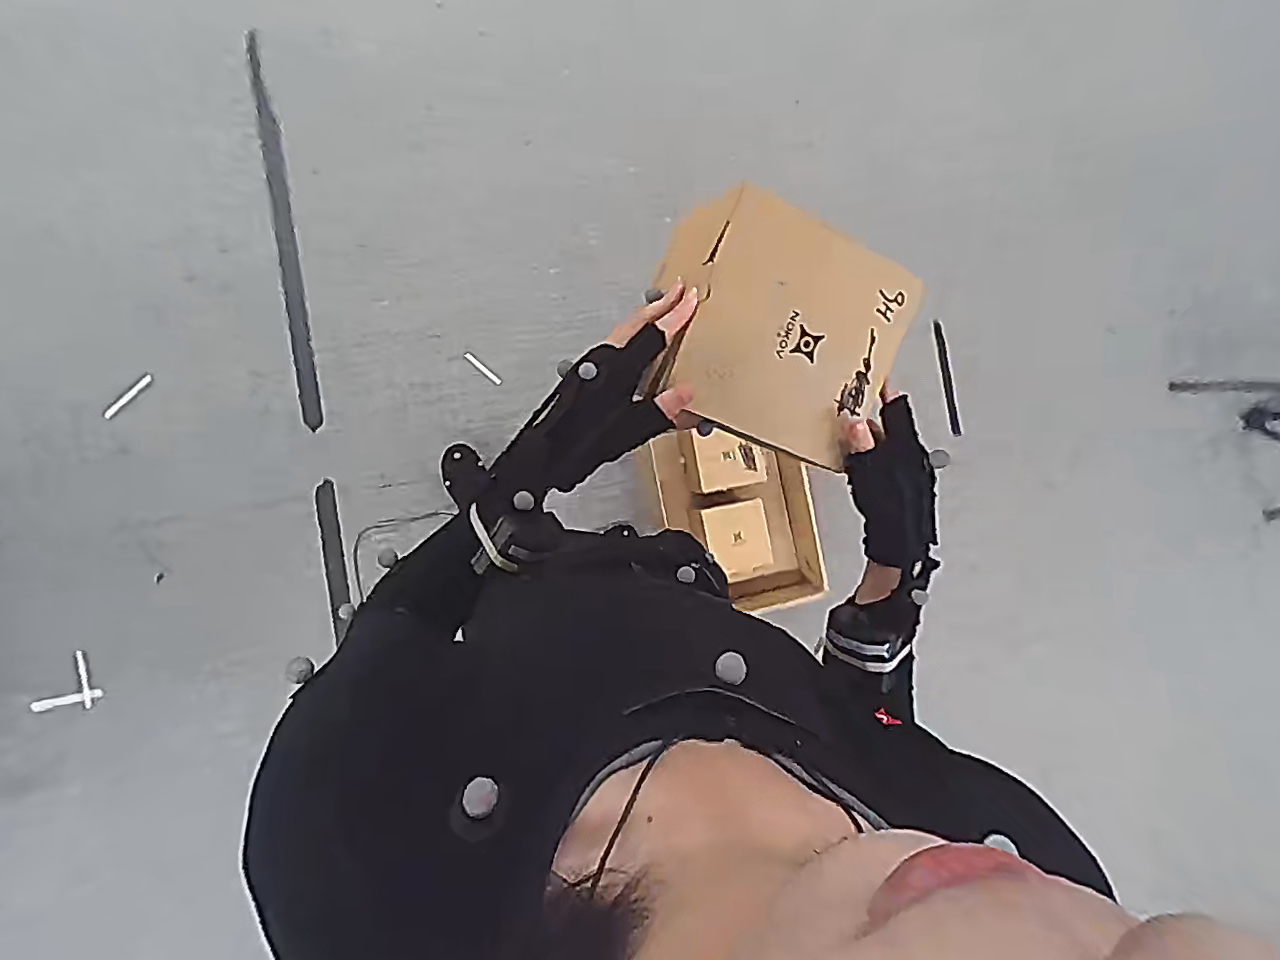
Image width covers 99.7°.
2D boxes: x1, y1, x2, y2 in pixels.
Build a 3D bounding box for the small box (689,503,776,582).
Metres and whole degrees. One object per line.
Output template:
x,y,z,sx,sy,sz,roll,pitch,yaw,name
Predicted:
0.240,0.159,1.439,0.168,0.176,0.179,-11,88,-9,small box
